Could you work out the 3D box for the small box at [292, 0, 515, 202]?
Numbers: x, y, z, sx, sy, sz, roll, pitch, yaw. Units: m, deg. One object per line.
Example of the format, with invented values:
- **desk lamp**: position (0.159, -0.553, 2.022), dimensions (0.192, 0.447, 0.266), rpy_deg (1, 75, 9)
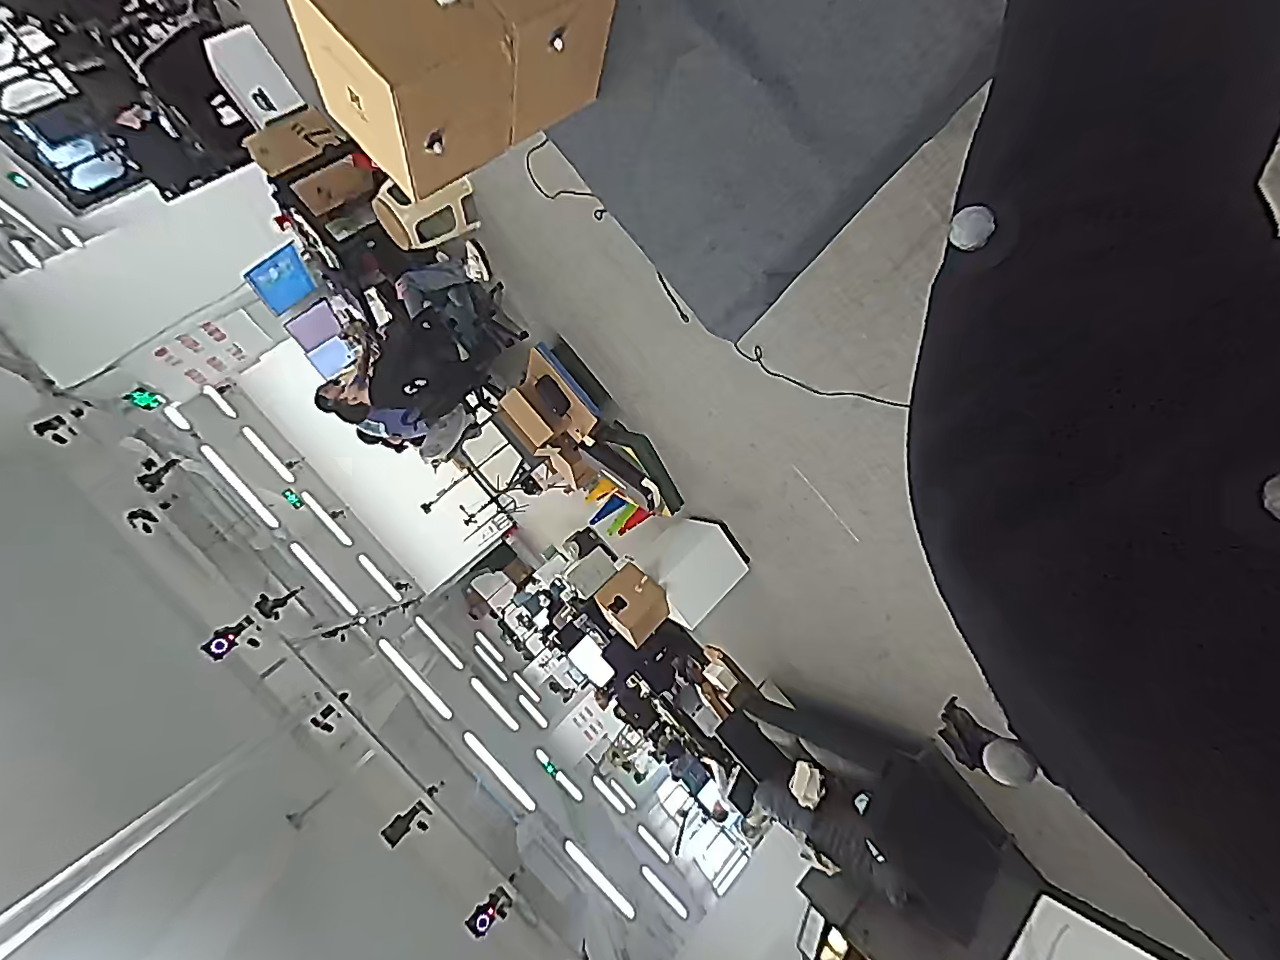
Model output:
- **small box**: position (-0.268, -0.488, 0.649), dimensions (0.168, 0.176, 0.179), rpy_deg (46, 160, -1)
